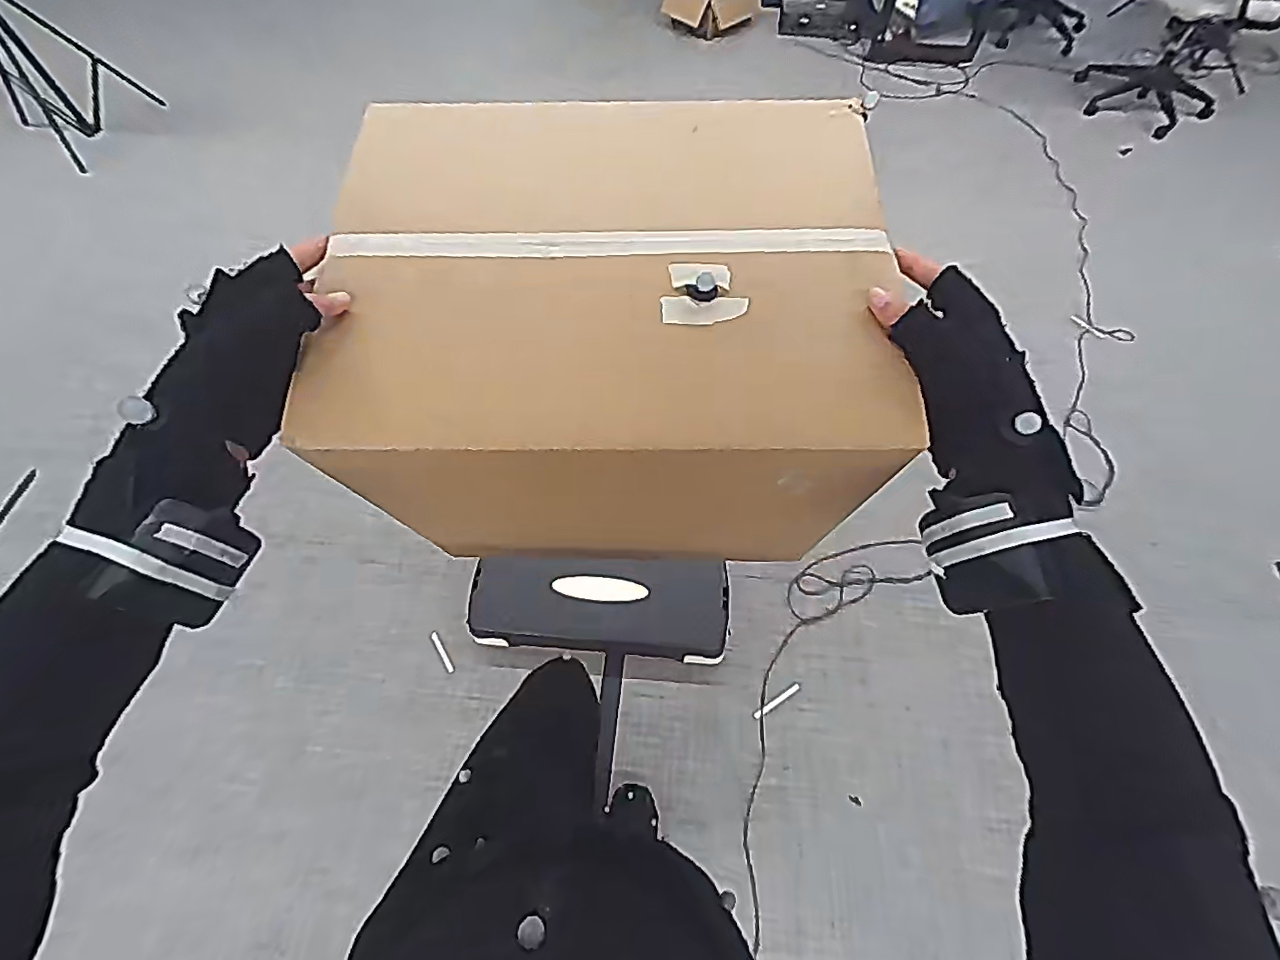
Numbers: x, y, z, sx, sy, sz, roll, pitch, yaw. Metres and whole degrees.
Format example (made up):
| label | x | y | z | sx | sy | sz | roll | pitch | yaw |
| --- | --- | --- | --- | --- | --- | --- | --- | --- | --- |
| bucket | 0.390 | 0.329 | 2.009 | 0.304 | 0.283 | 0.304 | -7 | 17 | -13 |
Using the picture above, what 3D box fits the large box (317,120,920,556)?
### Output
| label | x | y | z | sx | sy | sz | roll | pitch | yaw |
| --- | --- | --- | --- | --- | --- | --- | --- | --- | --- |
| large box | -0.015 | -0.110 | 0.543 | 0.408 | 0.320 | 0.320 | 1 | 69 | 0 |
